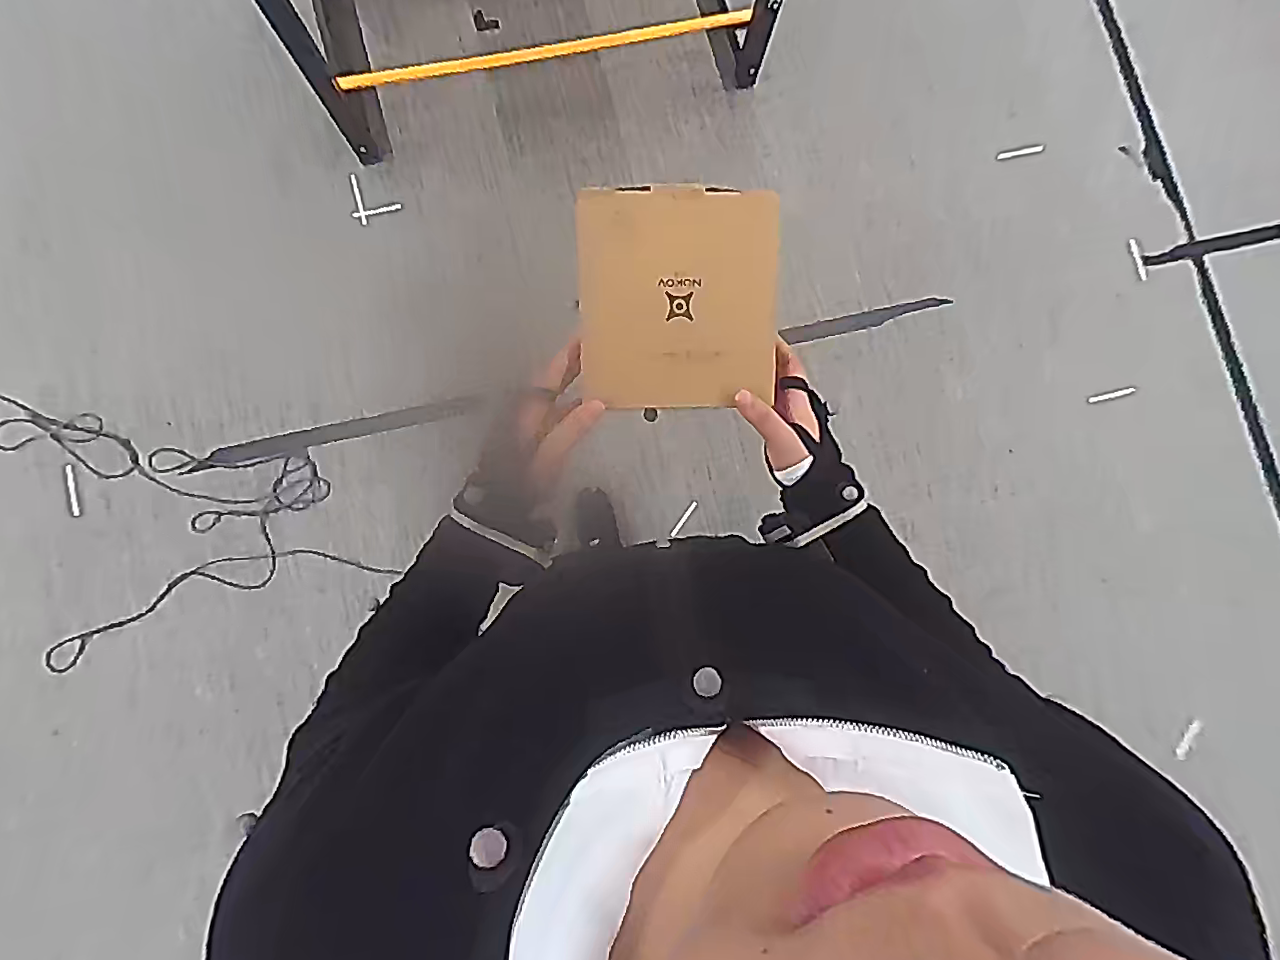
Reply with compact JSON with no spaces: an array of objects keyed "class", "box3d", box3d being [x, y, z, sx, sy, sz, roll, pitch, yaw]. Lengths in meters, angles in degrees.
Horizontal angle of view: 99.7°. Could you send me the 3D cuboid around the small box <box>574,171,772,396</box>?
[{"class":"small box","box3d":[0.021,-0.172,0.524,0.168,0.176,0.179,-2,99,-4]}]
